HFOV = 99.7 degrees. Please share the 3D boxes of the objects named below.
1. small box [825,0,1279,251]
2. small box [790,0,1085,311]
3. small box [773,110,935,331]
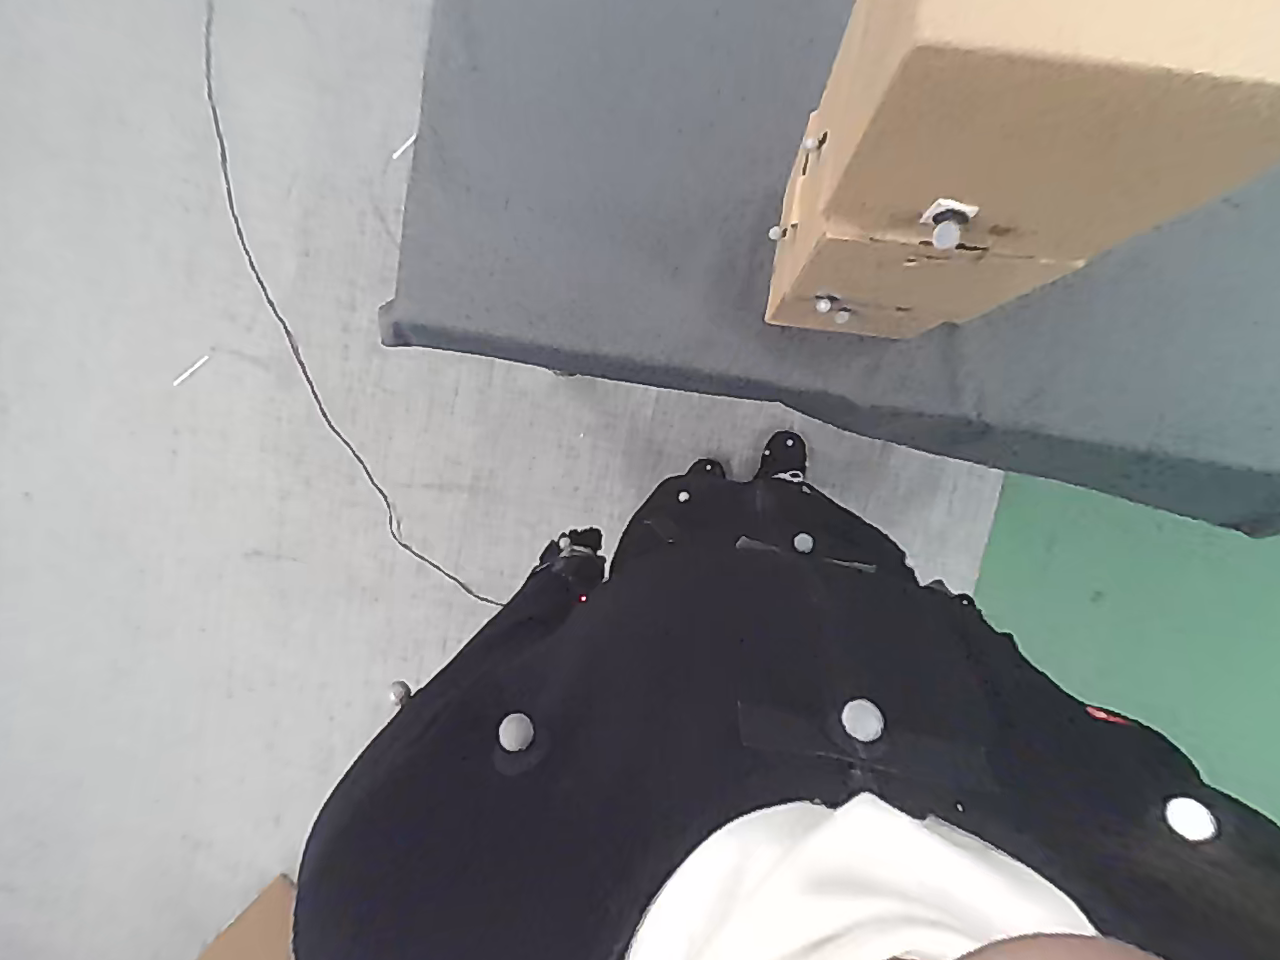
[{"bbox_3d":[0.200,-0.236,0.259,0.168,0.176,0.179,11,96,7],"label":"small box"},{"bbox_3d":[0.219,-0.243,0.419,0.168,0.176,0.179,9,94,6],"label":"small box"},{"bbox_3d":[0.245,-0.264,0.583,0.179,0.176,0.168,5,93,6],"label":"small box"}]
